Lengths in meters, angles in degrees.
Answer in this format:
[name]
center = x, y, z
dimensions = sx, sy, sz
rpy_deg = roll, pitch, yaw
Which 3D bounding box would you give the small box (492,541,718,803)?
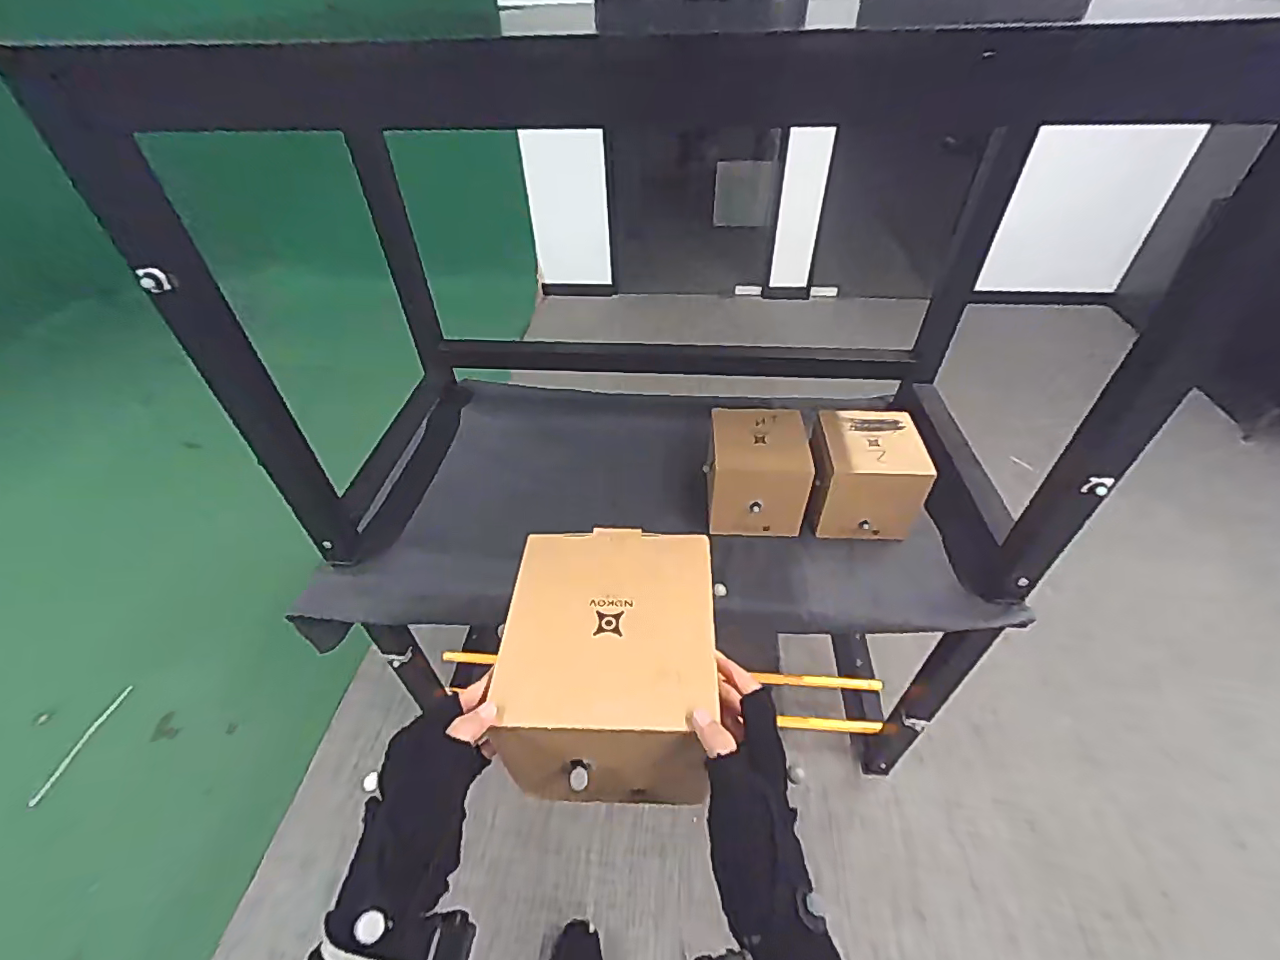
[small box]
center = -0.019, 0.176, 0.493
dimensions = 0.168, 0.176, 0.179
rpy_deg = -1, 43, 2
